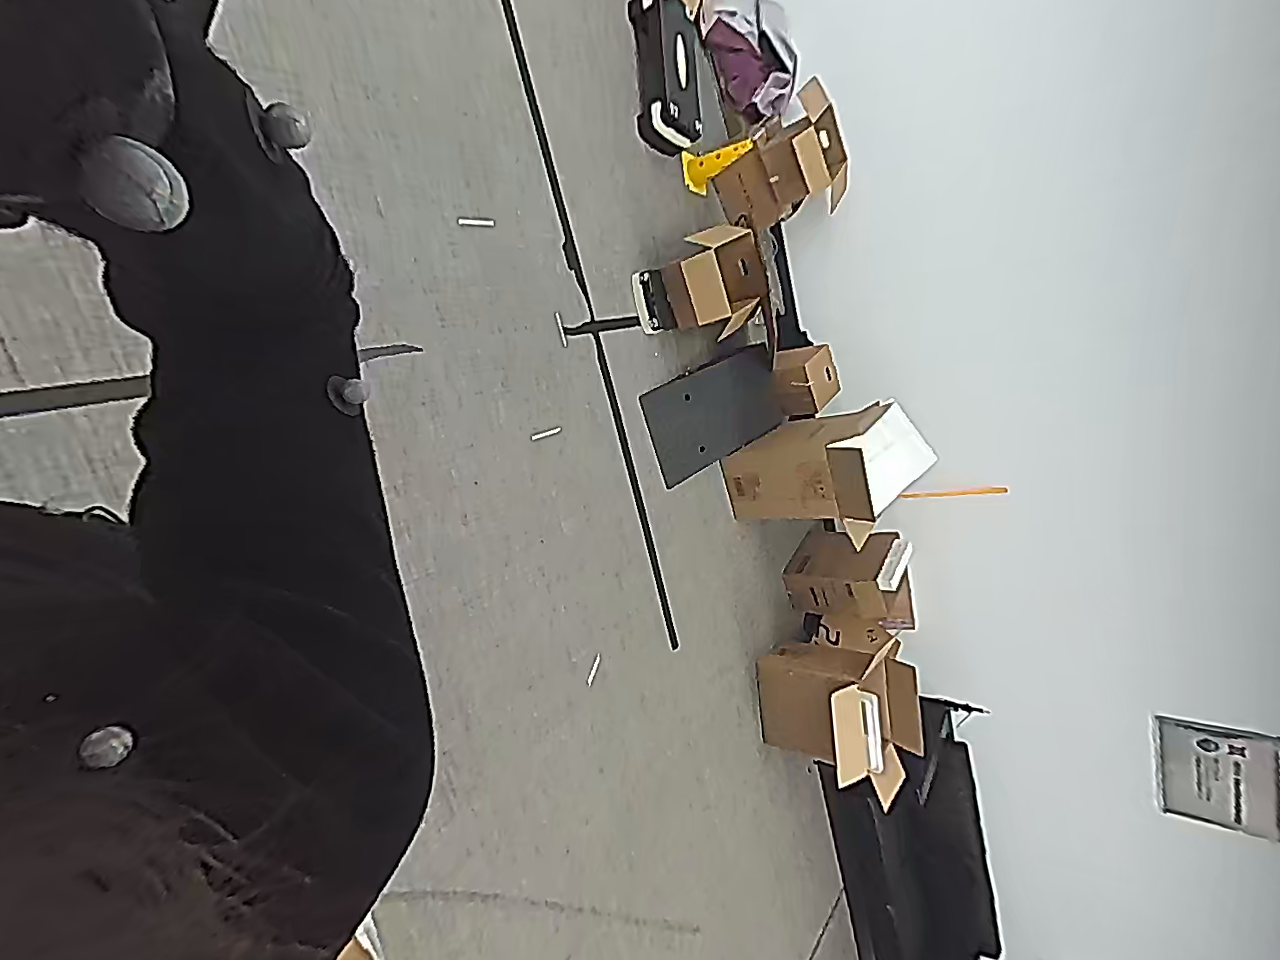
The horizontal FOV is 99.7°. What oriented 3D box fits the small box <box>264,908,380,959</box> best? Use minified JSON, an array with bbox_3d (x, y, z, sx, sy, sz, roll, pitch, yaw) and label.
[{"bbox_3d":[-0.528,0.864,0.895,0.168,0.176,0.179,-27,108,-45],"label":"small box"}]
